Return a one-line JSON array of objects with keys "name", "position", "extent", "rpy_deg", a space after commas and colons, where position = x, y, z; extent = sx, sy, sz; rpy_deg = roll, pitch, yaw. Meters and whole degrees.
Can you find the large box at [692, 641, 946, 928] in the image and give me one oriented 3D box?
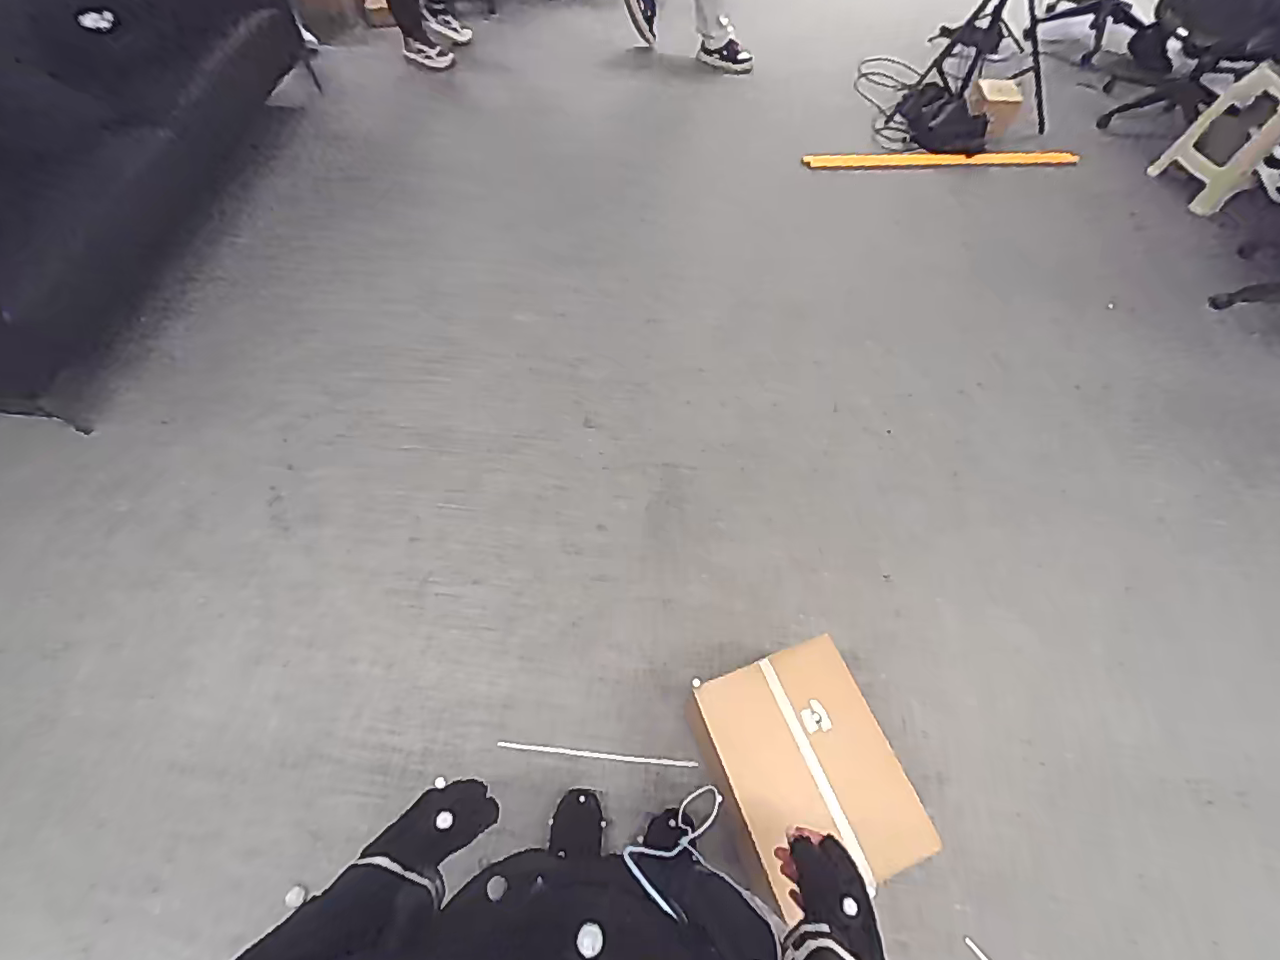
[{"name": "large box", "position": [0.335, 0.619, 1.148], "extent": [0.320, 0.320, 0.408], "rpy_deg": [-18, 61, -10]}]
